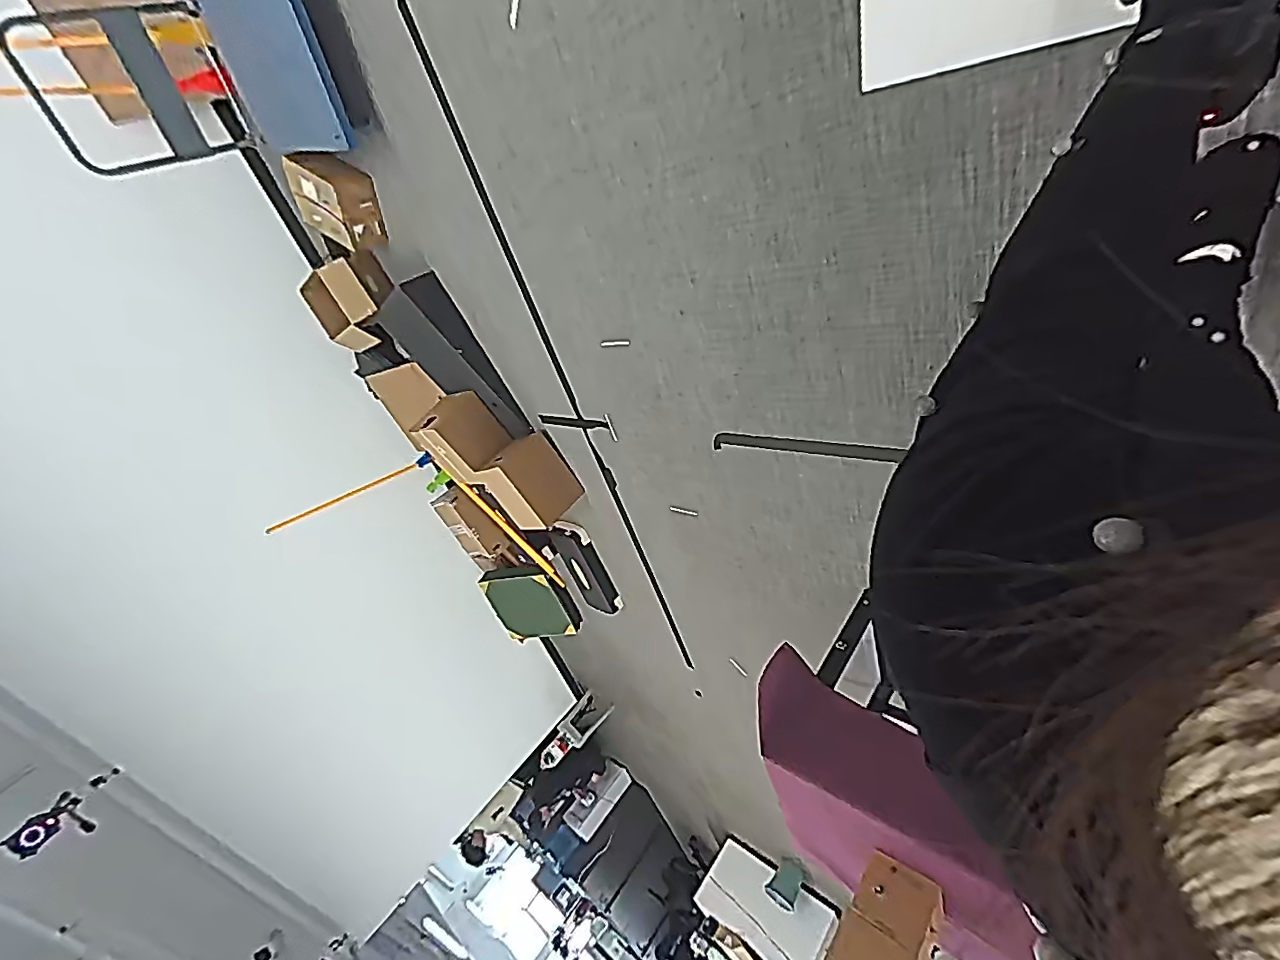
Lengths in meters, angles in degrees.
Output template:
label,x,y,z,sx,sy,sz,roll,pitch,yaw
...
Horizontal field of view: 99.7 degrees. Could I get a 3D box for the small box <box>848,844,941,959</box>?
label,x,y,z,sx,sy,sz,roll,pitch,yaw
small box,0.655,1.085,1.384,0.168,0.176,0.179,11,134,44

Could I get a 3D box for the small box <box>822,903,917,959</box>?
label,x,y,z,sx,sy,sz,roll,pitch,yaw
small box,0.553,1.176,1.295,0.179,0.176,0.168,11,132,44
